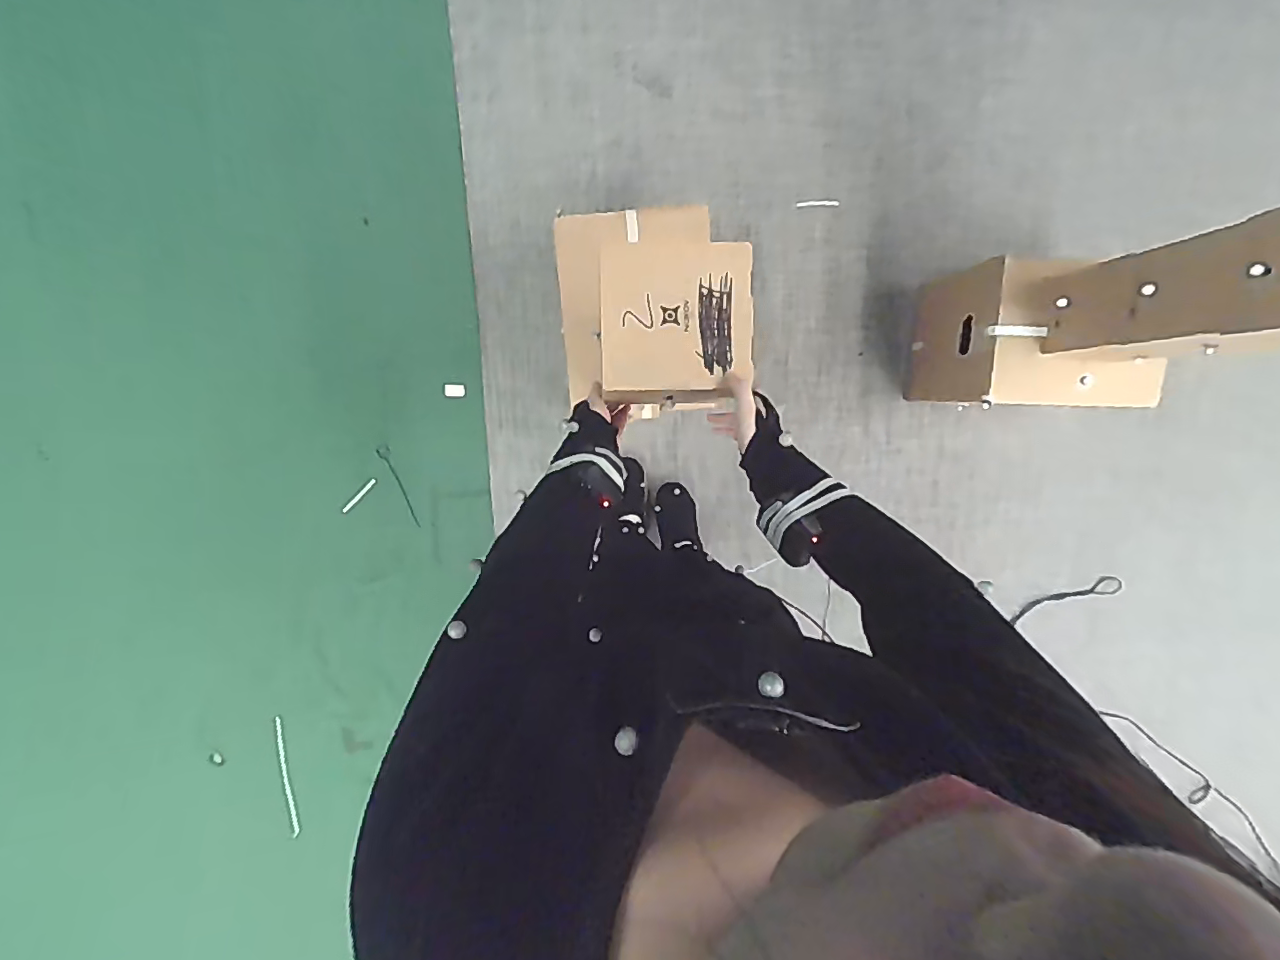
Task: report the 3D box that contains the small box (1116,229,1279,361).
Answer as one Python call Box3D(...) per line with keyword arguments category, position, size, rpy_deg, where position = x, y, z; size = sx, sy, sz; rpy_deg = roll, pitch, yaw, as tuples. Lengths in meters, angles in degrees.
Box3D(category="small box", position=(0.965, -0.297, 0.904), size=(0.179, 0.176, 0.168), rpy_deg=(6, 96, -4))

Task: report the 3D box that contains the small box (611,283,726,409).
Box3D(category="small box", position=(0.040, -0.205, 0.860), size=(0.168, 0.176, 0.179), rpy_deg=(-3, 97, -4))

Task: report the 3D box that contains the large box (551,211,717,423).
Box3D(category="large box", position=(-0.013, -0.348, 1.250), size=(0.320, 0.320, 0.408), rpy_deg=(-5, 98, -3))

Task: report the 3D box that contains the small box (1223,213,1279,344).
Box3D(category="small box", position=(0.974, -0.281, 0.740), size=(0.168, 0.176, 0.179), rpy_deg=(5, 97, -5))

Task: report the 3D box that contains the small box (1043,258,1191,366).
Box3D(category="small box", position=(0.953, -0.321, 1.066), size=(0.179, 0.176, 0.168), rpy_deg=(5, 96, -4))

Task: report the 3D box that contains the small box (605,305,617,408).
Box3D(category="small box", position=(0.020, -0.228, 1.023), size=(0.168, 0.176, 0.179), rpy_deg=(-3, 97, -3))
